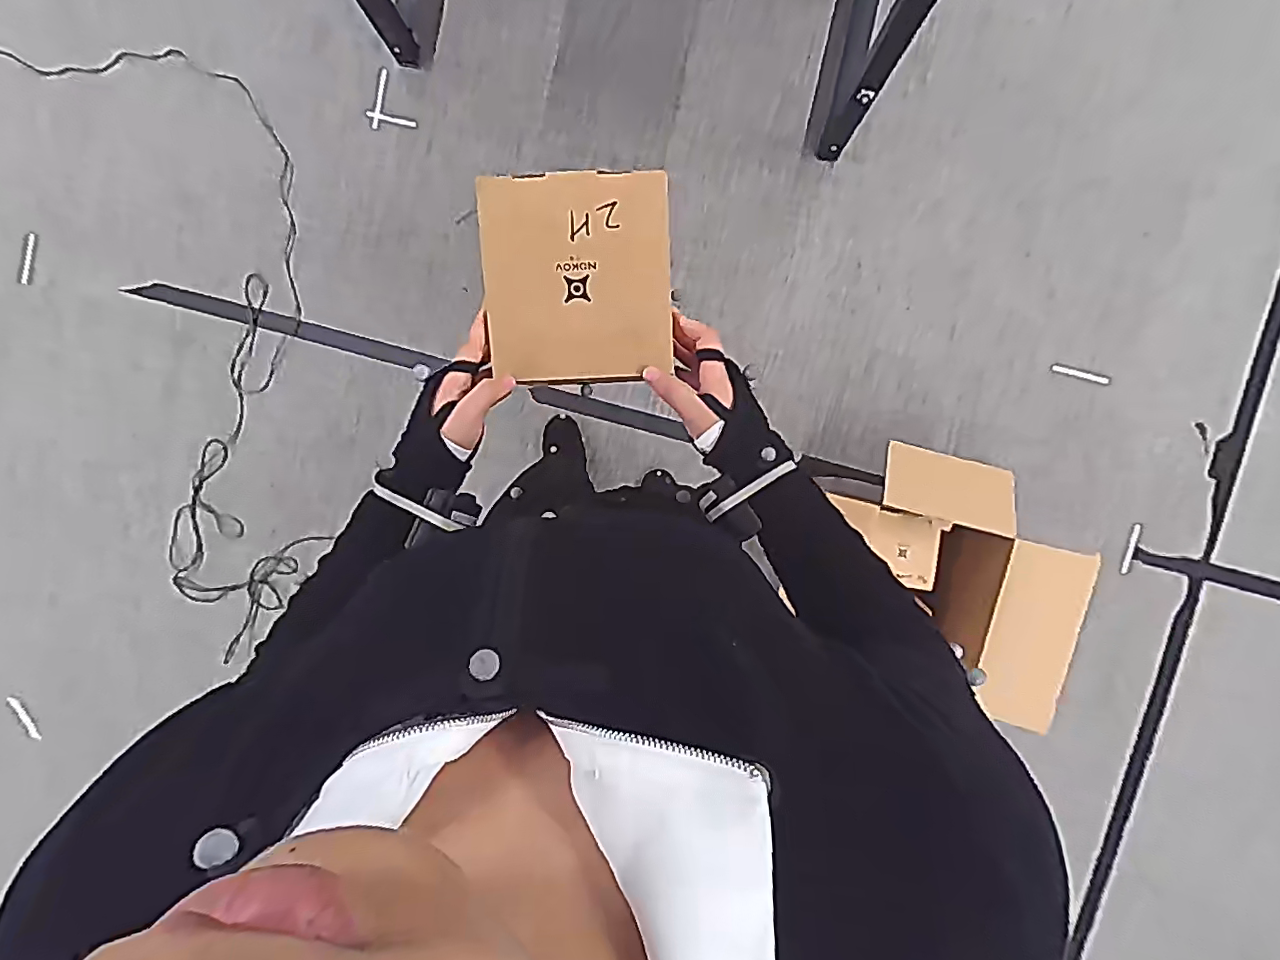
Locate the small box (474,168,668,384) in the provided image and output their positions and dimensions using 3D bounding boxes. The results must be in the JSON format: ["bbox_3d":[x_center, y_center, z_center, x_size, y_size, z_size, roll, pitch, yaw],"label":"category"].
[{"bbox_3d":[-0.058,-0.190,0.554,0.168,0.176,0.179,-3,98,0],"label":"small box"}]
